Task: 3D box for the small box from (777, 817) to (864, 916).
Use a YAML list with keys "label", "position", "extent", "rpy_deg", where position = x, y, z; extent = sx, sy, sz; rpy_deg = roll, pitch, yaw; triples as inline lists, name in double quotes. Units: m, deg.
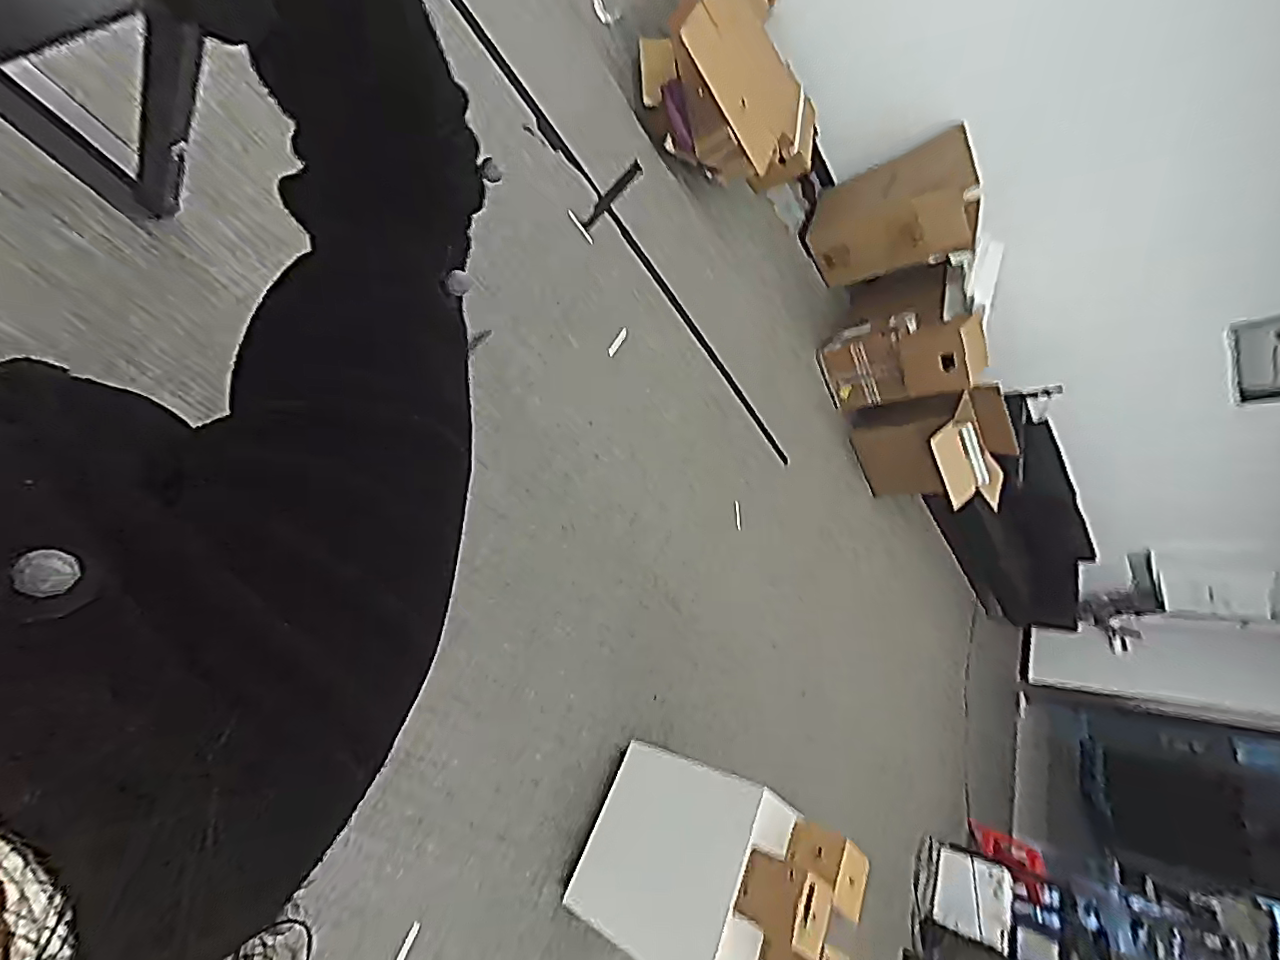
- label: "small box"
  position: [0.527, 1.121, 1.582]
  extent: [0.179, 0.176, 0.168]
  rpy_deg: [52, 53, -27]
